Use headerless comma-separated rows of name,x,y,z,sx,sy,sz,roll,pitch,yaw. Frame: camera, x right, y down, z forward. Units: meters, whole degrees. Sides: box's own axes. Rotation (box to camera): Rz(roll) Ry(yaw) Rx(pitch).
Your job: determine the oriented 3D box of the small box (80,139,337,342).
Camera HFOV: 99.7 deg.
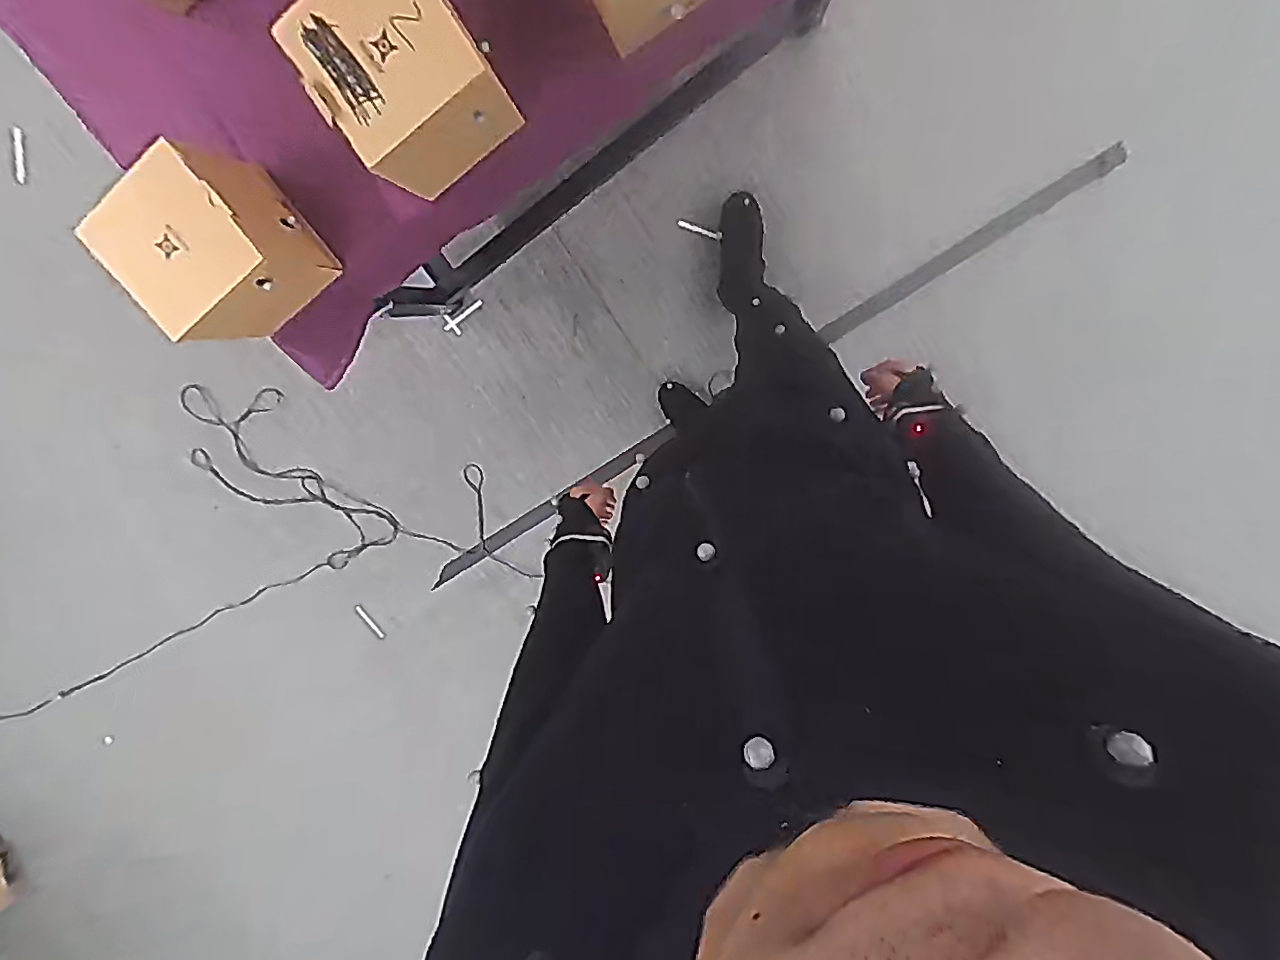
small box,-0.561,-0.306,0.731,0.179,0.176,0.168,-35,102,12
